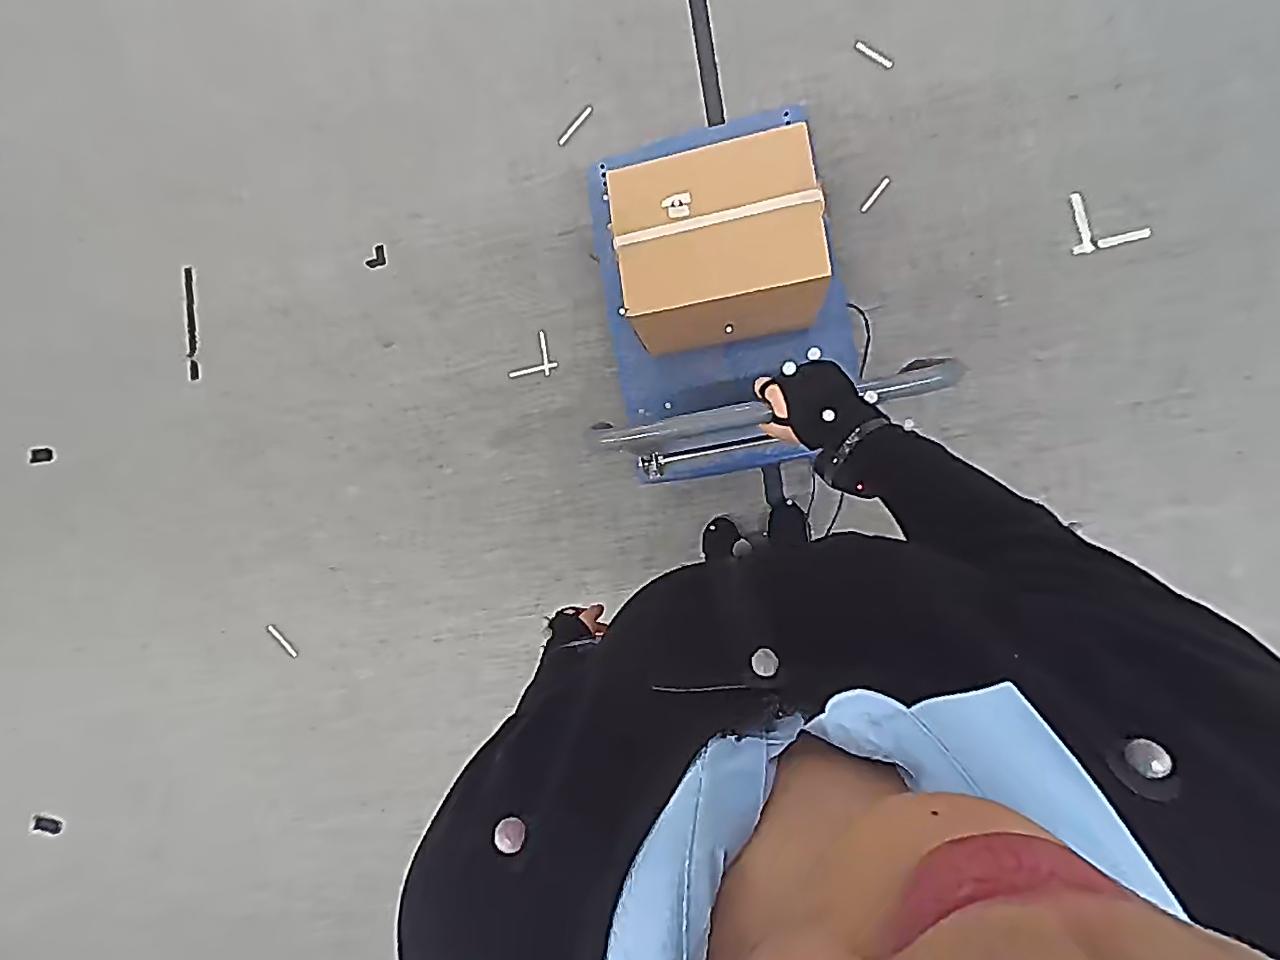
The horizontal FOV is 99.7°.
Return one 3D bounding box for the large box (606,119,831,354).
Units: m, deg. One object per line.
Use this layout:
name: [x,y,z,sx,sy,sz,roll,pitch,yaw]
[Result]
large box: [0.173,-0.502,1.199,0.408,0.320,0.320,-9,85,11]
